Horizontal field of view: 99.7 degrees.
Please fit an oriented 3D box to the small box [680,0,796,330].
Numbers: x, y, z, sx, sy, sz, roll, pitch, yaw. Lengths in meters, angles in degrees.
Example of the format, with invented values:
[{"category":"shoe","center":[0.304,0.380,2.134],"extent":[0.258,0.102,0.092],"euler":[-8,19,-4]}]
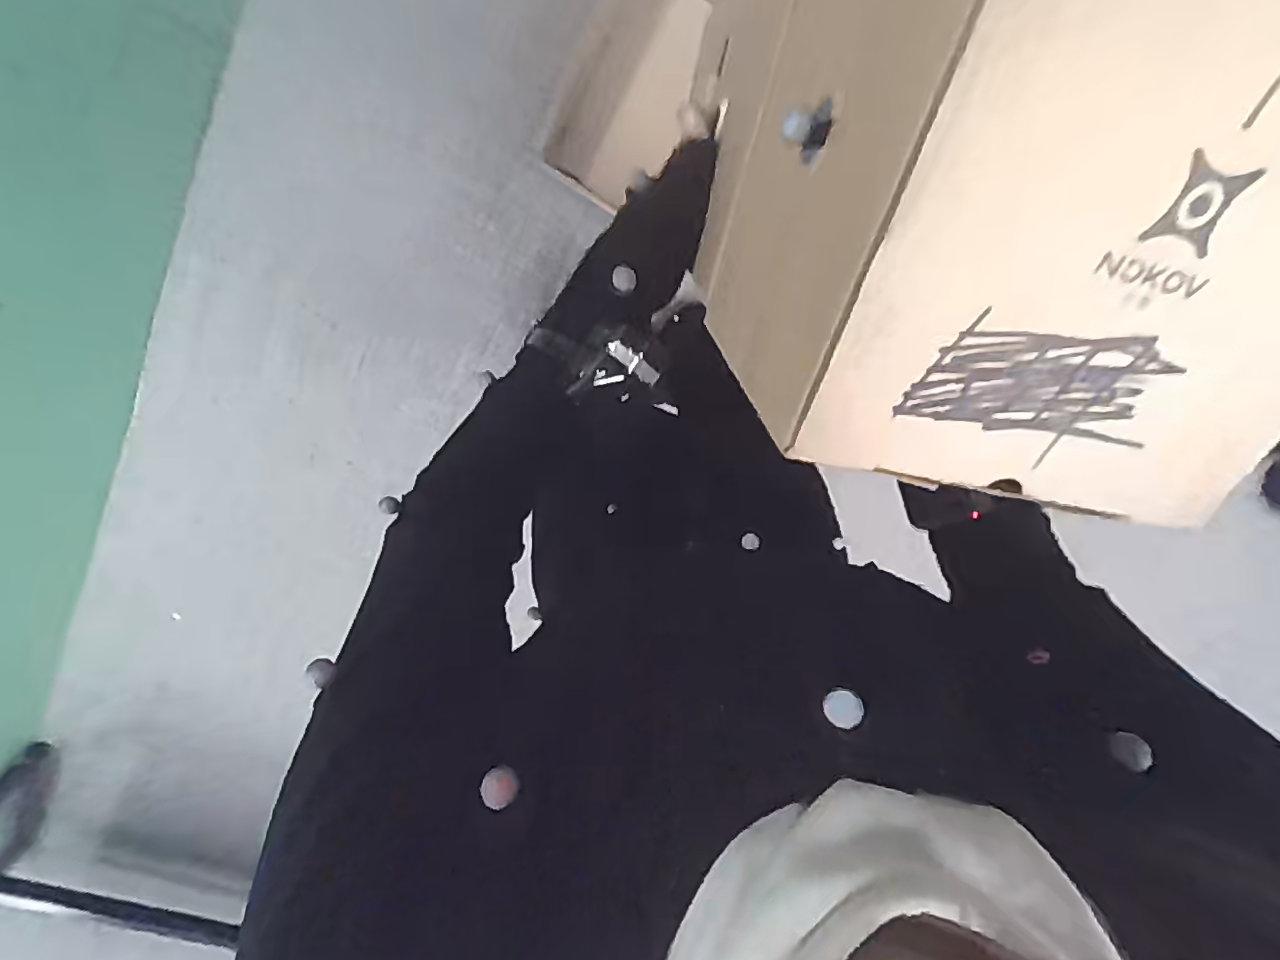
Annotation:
[{"category":"small box","center":[0.132,-0.188,0.346],"extent":[0.179,0.176,0.168],"euler":[5,121,-7]}]
